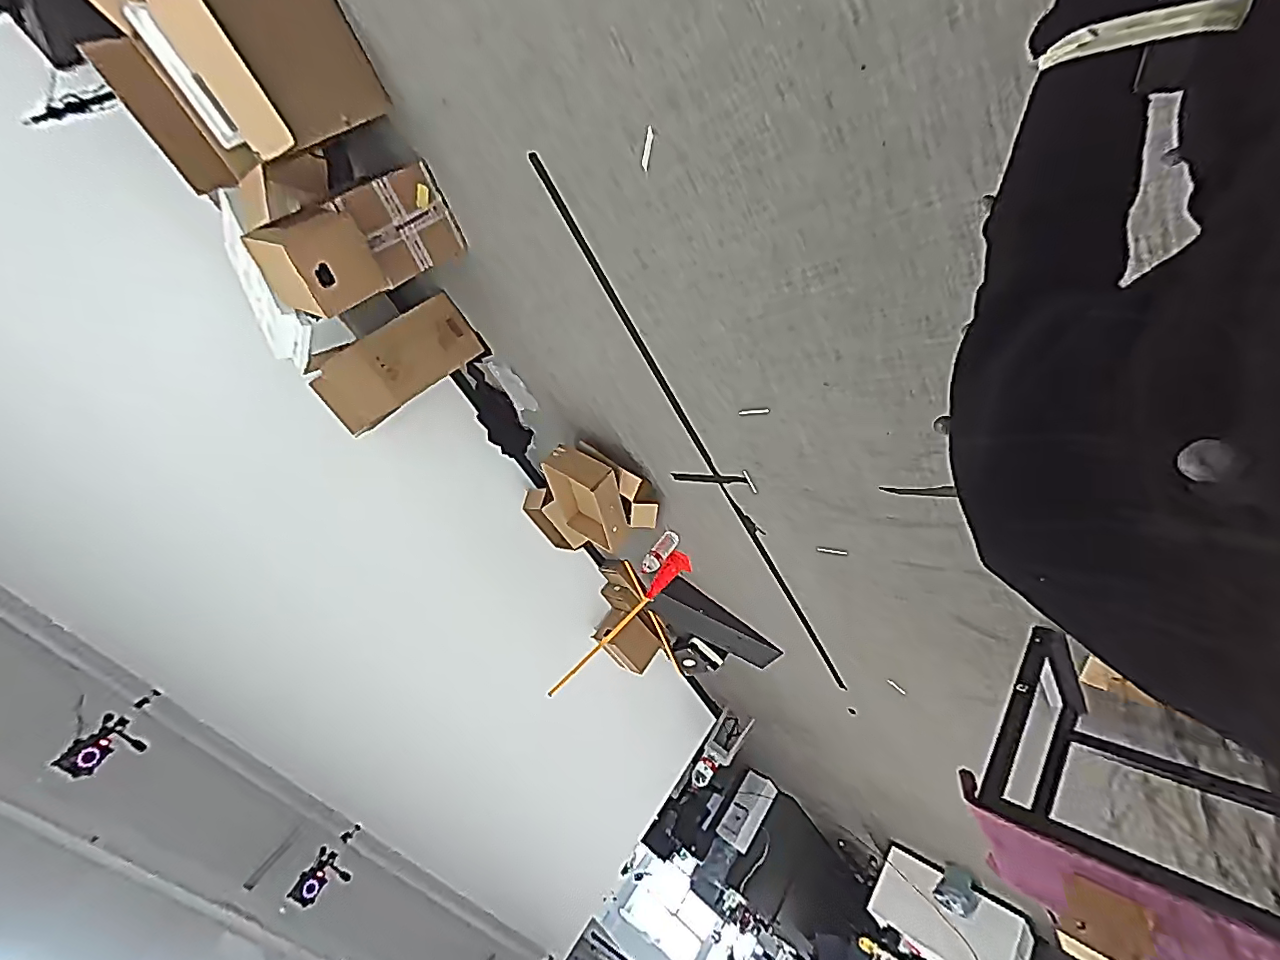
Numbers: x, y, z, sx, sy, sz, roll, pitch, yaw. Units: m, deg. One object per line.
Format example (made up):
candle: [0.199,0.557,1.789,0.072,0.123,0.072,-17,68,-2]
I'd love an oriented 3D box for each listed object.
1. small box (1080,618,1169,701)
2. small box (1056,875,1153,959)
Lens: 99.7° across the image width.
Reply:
small box: [1.587,0.581,1.774,0.179,0.176,0.168,17,143,38]
small box: [1.303,1.253,1.514,0.179,0.176,0.168,4,136,50]
